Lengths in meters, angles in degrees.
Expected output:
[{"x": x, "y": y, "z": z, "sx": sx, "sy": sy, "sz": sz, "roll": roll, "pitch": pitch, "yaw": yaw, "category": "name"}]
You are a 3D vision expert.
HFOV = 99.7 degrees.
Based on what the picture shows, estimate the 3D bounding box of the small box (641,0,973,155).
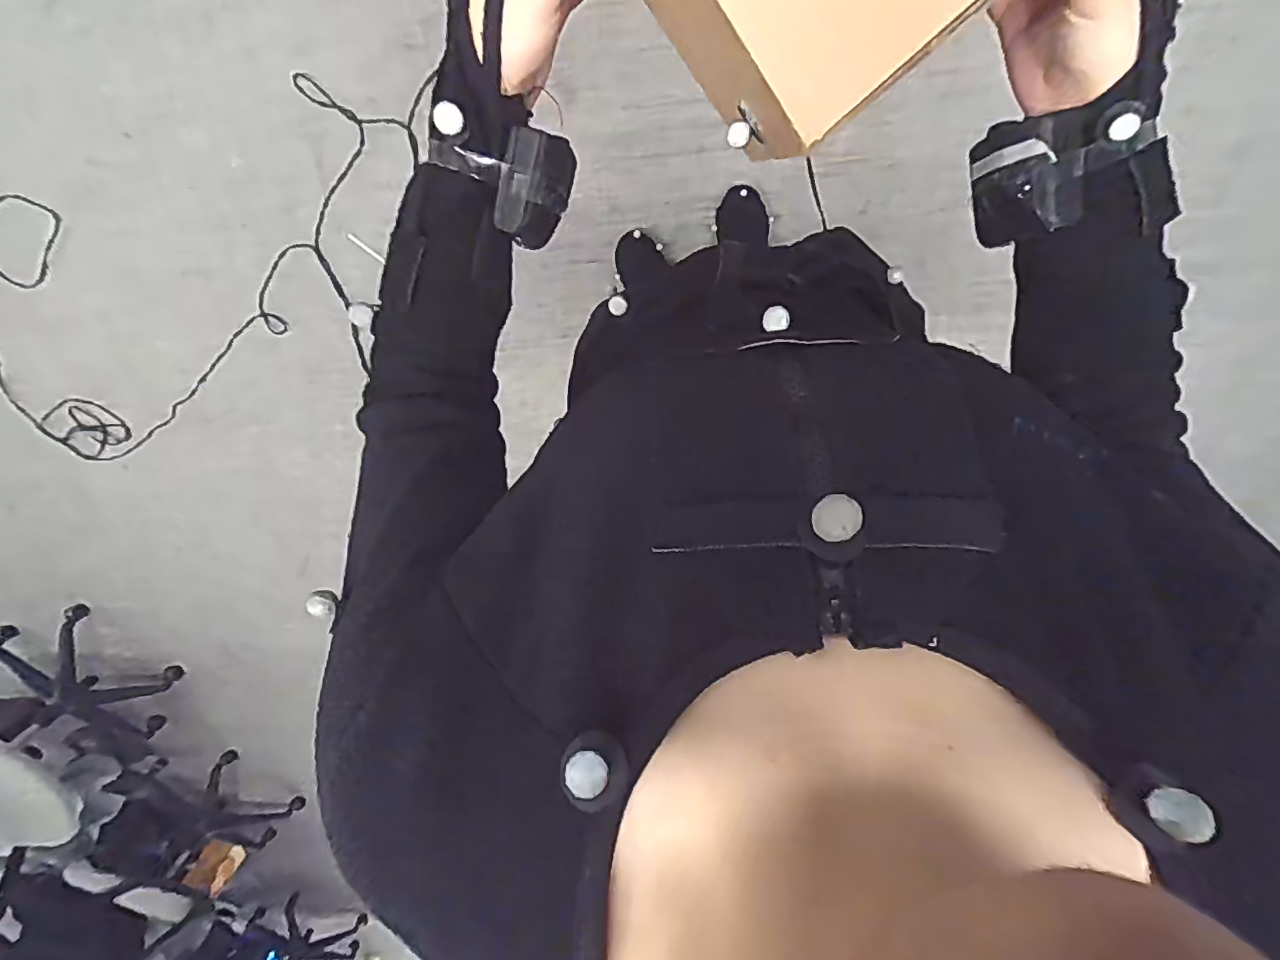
[{"x": 0.081, "y": -0.283, "z": 0.237, "sx": 0.179, "sy": 0.168, "sz": 0.176, "roll": -37, "pitch": 111, "yaw": 20, "category": "small box"}]
